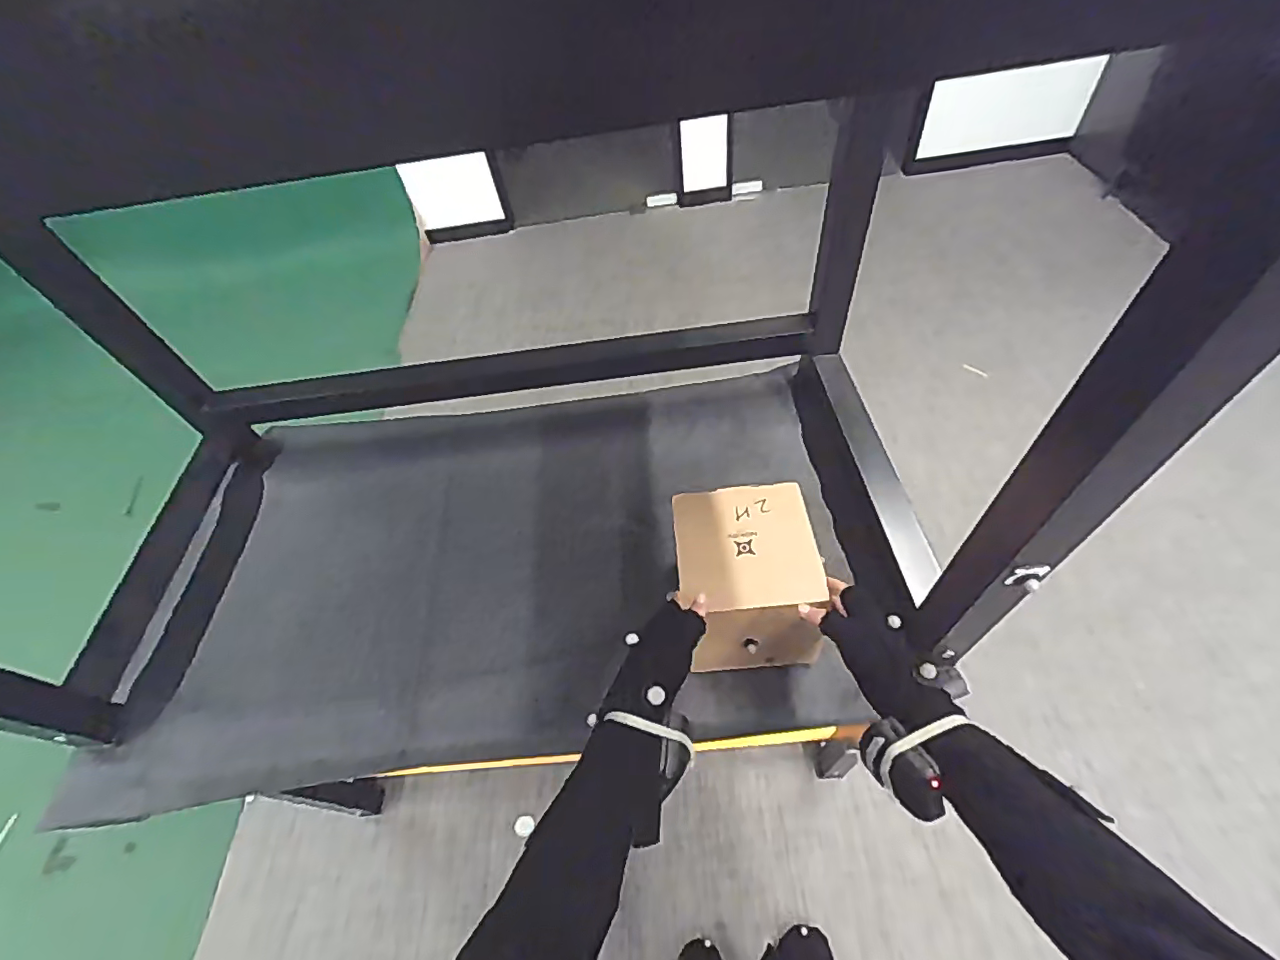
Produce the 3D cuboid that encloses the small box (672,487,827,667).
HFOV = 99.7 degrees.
[{"bbox_3d":[0.135,0.134,0.710,0.168,0.176,0.179,-6,48,4],"label":"small box"}]
